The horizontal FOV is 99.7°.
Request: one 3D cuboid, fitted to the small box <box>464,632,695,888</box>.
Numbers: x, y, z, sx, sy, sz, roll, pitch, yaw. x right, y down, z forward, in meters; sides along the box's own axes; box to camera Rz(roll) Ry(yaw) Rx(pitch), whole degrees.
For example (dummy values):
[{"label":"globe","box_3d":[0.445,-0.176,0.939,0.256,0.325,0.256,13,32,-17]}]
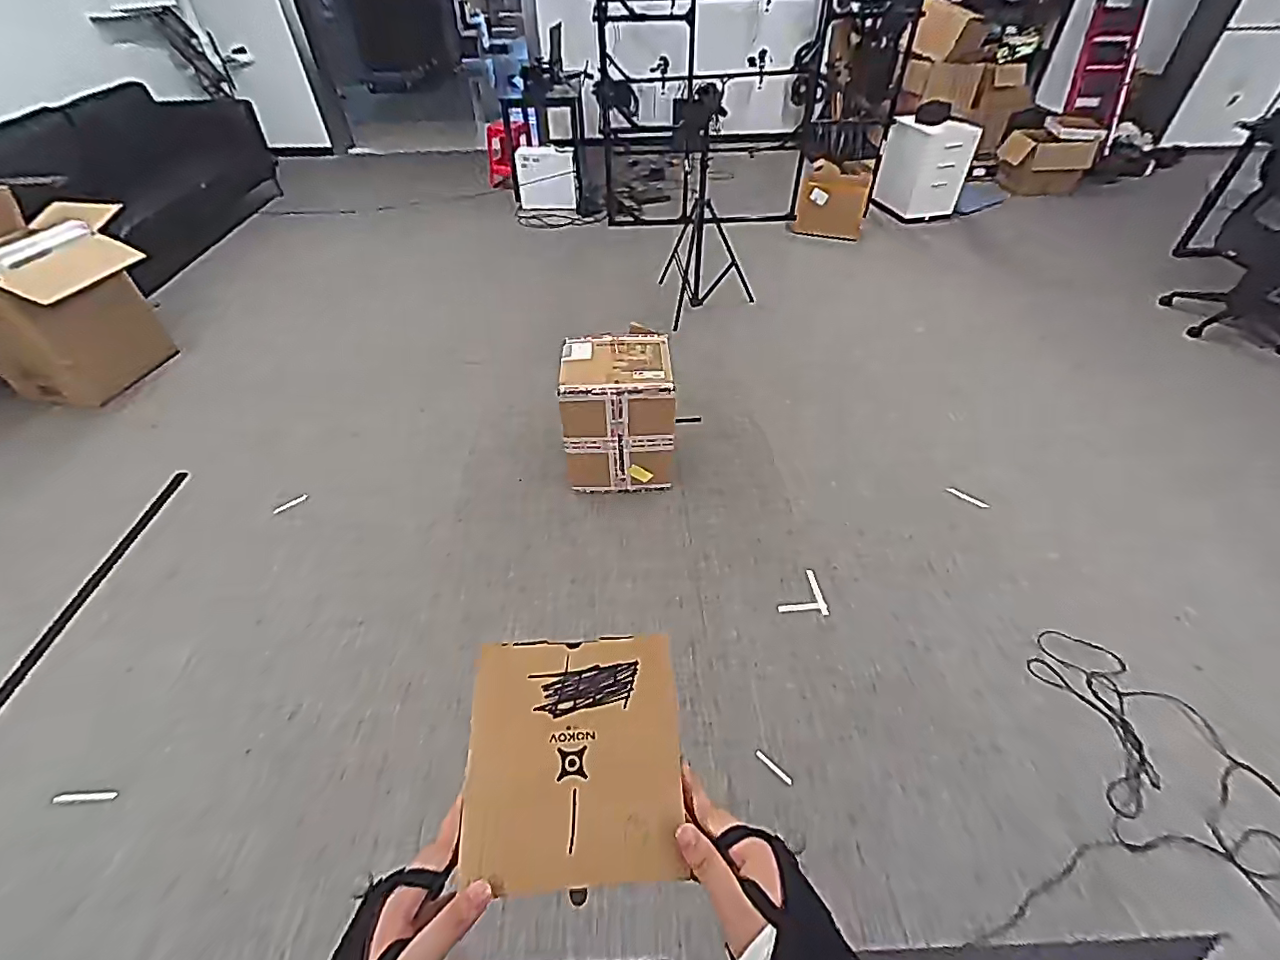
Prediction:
[{"label":"small box","box_3d":[-0.049,0.253,0.492,0.168,0.176,0.179,-3,57,-3]}]
